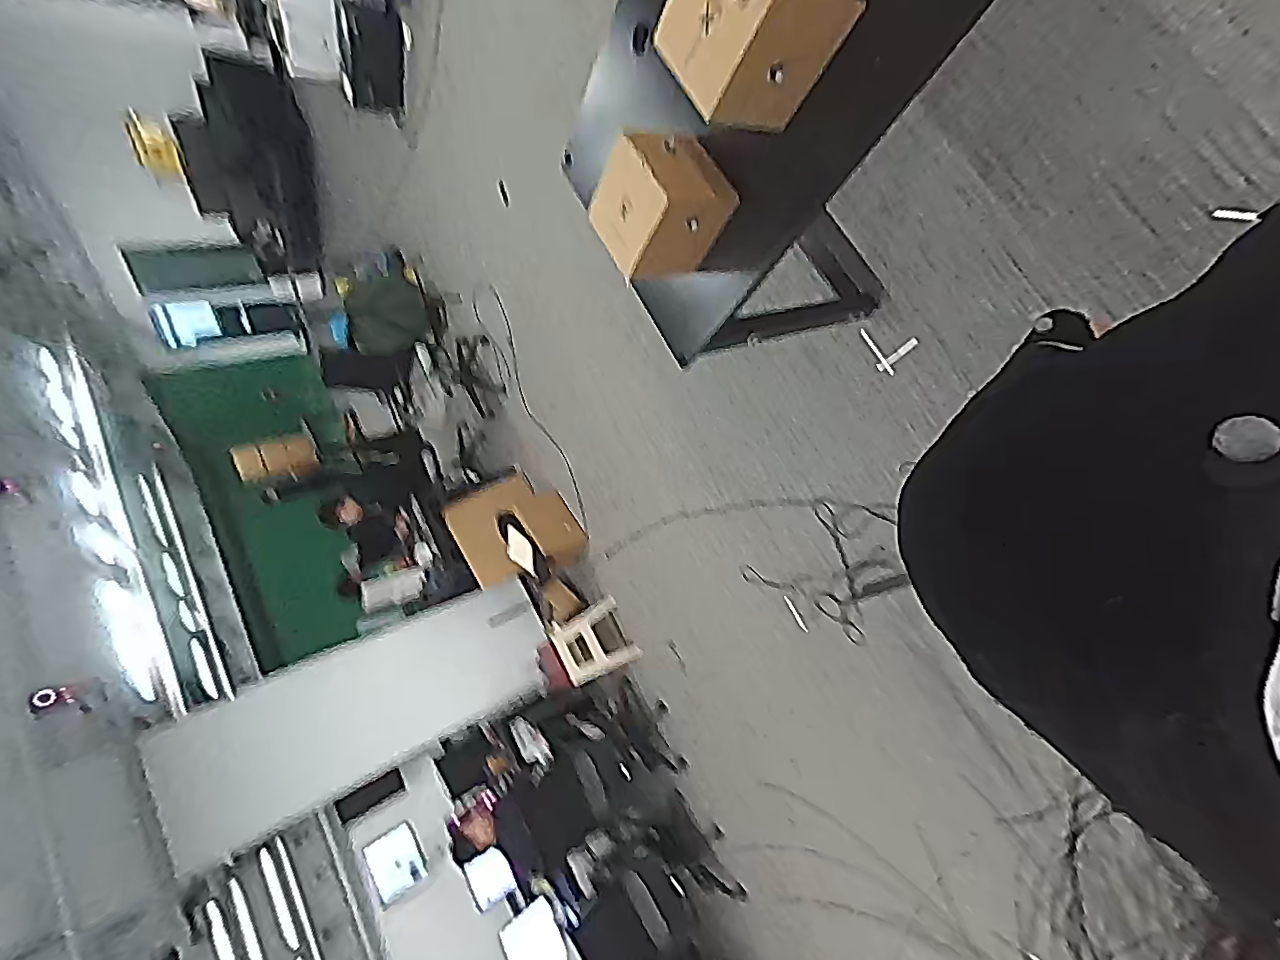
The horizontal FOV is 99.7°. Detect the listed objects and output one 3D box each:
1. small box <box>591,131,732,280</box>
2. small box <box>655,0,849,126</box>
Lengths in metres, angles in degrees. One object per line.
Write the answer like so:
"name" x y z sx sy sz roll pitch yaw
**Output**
"small box" 0.042 -0.492 0.979 0.168 0.176 0.179 61 146 15
"small box" 0.156 -0.626 0.742 0.168 0.176 0.179 62 147 12
